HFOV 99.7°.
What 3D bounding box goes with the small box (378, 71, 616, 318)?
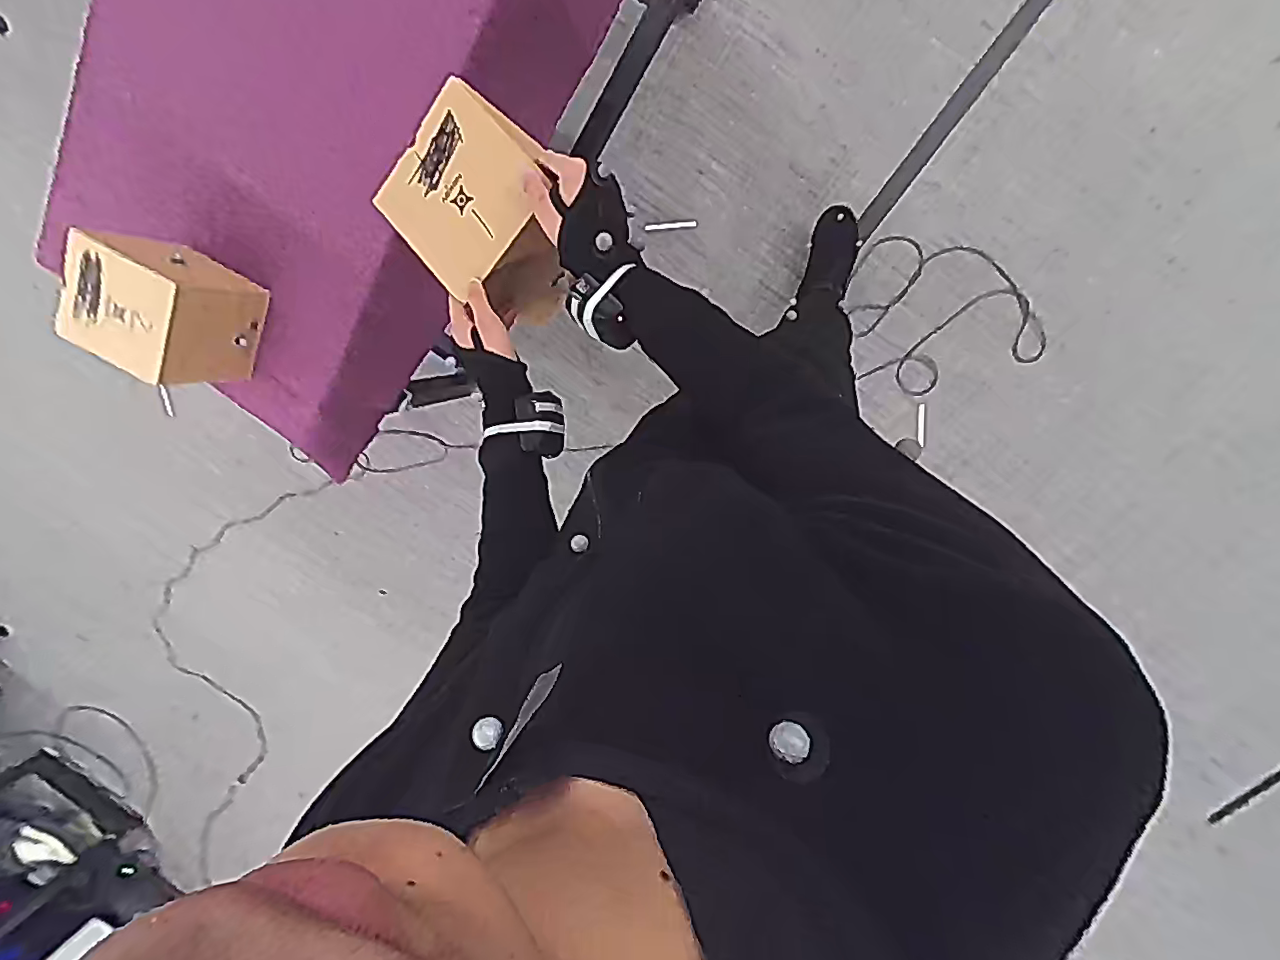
[{"bbox_3d":[-0.161,-0.319,0.648,0.168,0.176,0.179,-43,81,21],"label":"small box"}]
